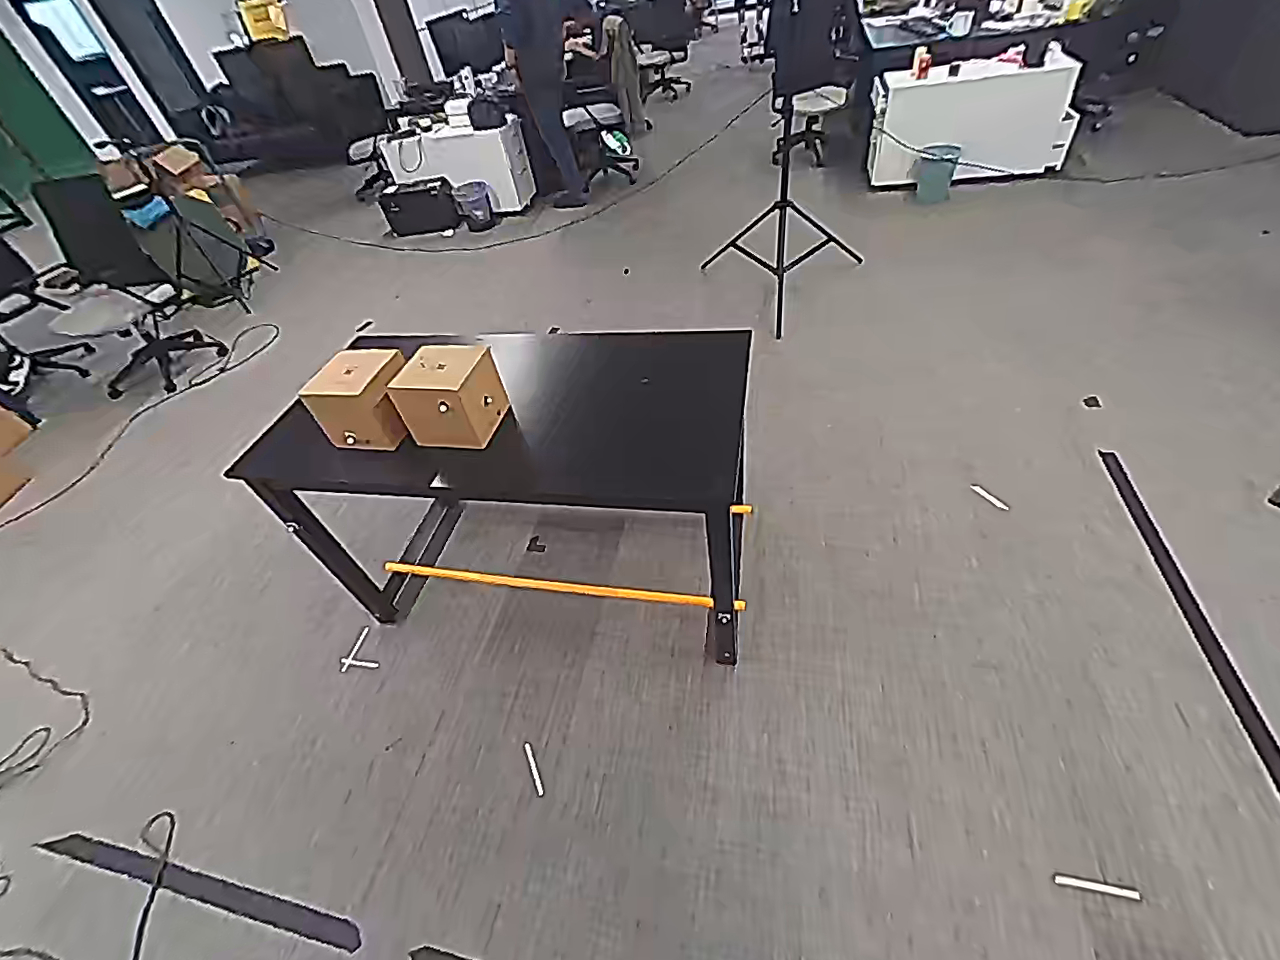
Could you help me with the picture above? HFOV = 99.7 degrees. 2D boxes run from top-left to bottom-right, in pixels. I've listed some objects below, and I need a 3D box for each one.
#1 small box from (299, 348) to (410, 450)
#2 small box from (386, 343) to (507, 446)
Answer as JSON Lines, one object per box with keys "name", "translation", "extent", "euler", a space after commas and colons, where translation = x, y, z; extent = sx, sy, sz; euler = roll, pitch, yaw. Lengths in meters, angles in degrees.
{"name": "small box", "translation": [-0.643, -0.193, 1.277], "extent": [0.168, 0.176, 0.179], "euler": [2, 47, 14]}
{"name": "small box", "translation": [-0.427, -0.193, 1.233], "extent": [0.179, 0.176, 0.168], "euler": [4, 47, 14]}
